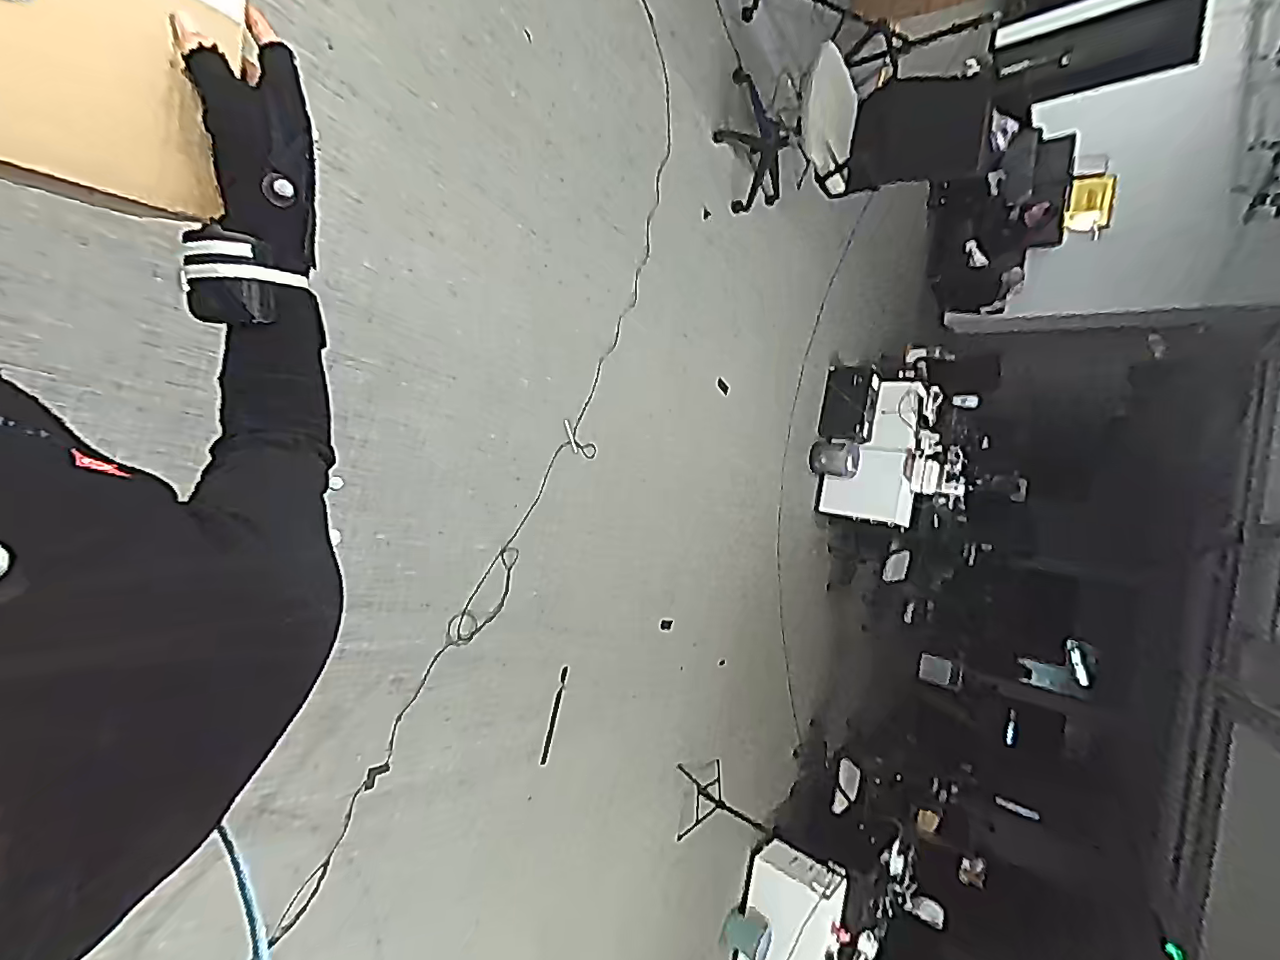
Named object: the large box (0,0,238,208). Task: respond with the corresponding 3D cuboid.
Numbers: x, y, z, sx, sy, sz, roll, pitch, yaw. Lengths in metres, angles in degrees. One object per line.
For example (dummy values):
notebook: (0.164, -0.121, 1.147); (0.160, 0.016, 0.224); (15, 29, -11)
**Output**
large box: (-0.540, -0.403, 0.336); (0.408, 0.320, 0.320); (-2, 111, -53)
